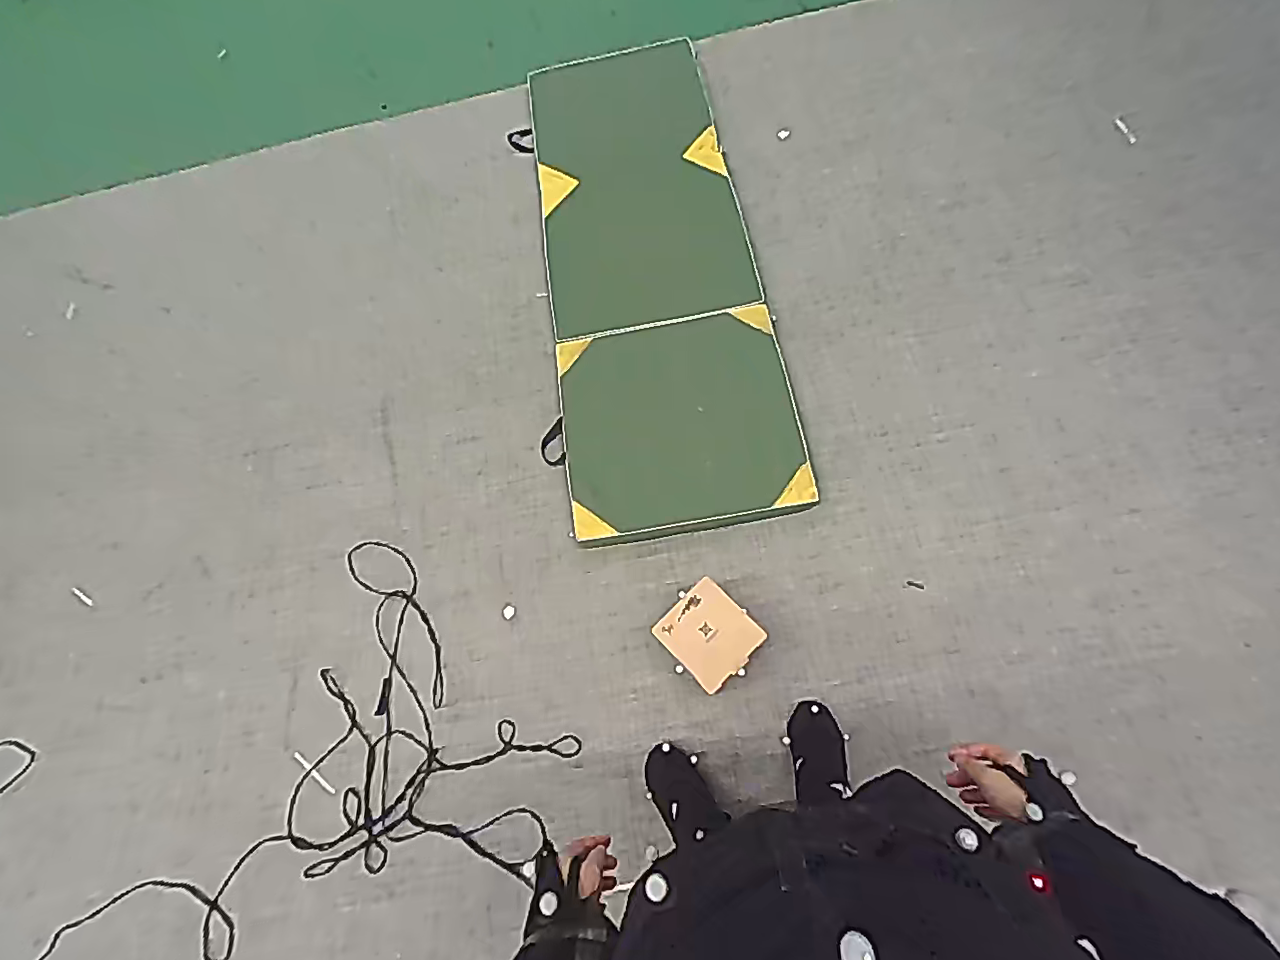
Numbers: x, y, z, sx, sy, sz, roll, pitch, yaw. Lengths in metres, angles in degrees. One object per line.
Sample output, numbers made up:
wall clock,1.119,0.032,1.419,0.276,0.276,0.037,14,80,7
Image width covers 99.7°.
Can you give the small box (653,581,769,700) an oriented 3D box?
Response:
small box,0.152,0.346,1.163,0.168,0.176,0.179,-42,69,-10
